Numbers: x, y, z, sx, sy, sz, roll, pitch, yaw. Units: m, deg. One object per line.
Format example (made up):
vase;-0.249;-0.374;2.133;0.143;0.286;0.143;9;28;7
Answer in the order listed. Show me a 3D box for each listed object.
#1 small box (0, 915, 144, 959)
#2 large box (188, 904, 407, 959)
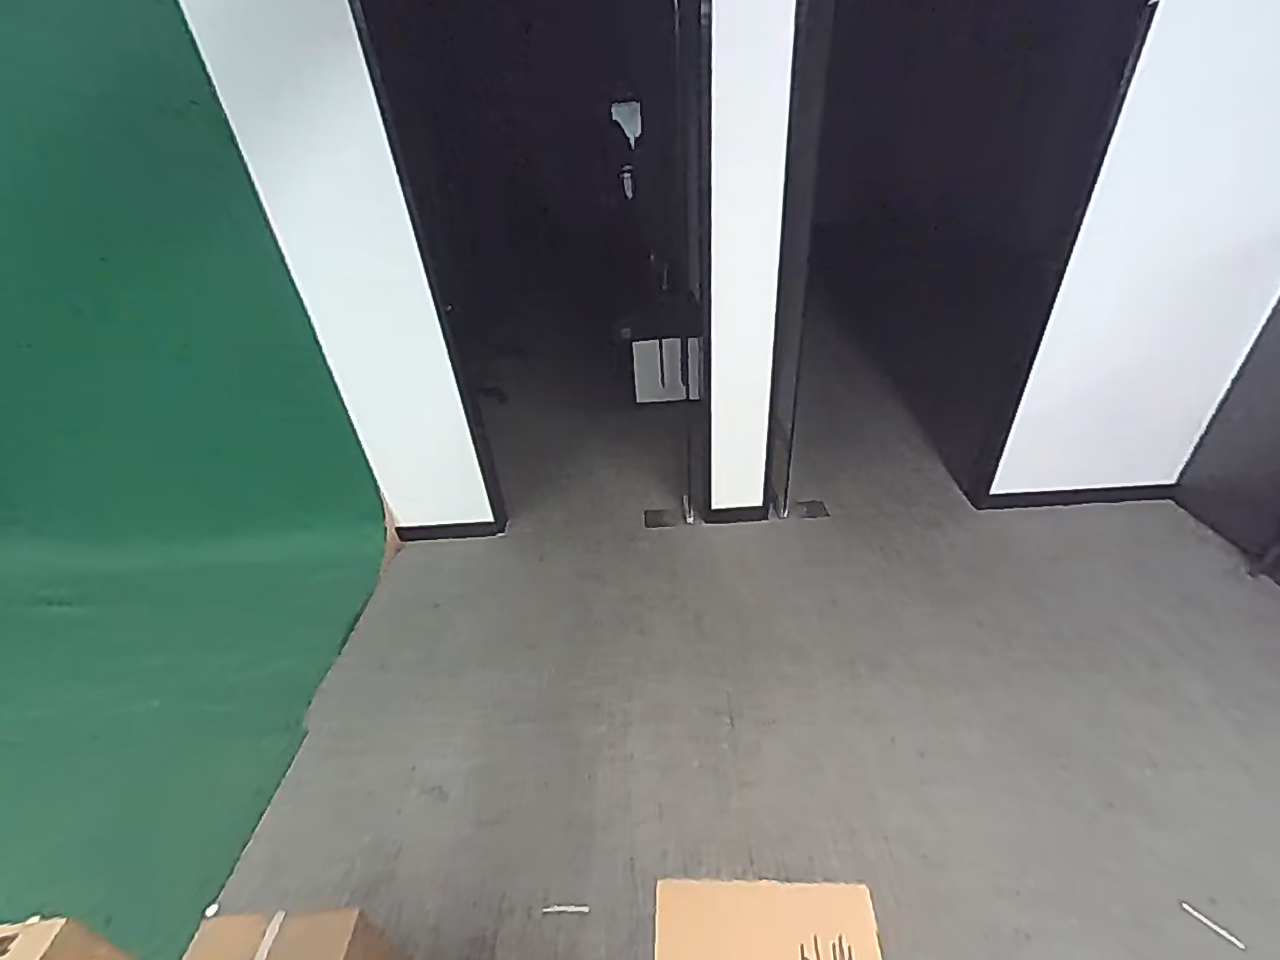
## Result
small box;-0.731;0.633;0.608;0.168;0.176;0.179;-6;33;-1
large box;-0.674;1.074;0.973;0.320;0.320;0.408;-4;32;1
